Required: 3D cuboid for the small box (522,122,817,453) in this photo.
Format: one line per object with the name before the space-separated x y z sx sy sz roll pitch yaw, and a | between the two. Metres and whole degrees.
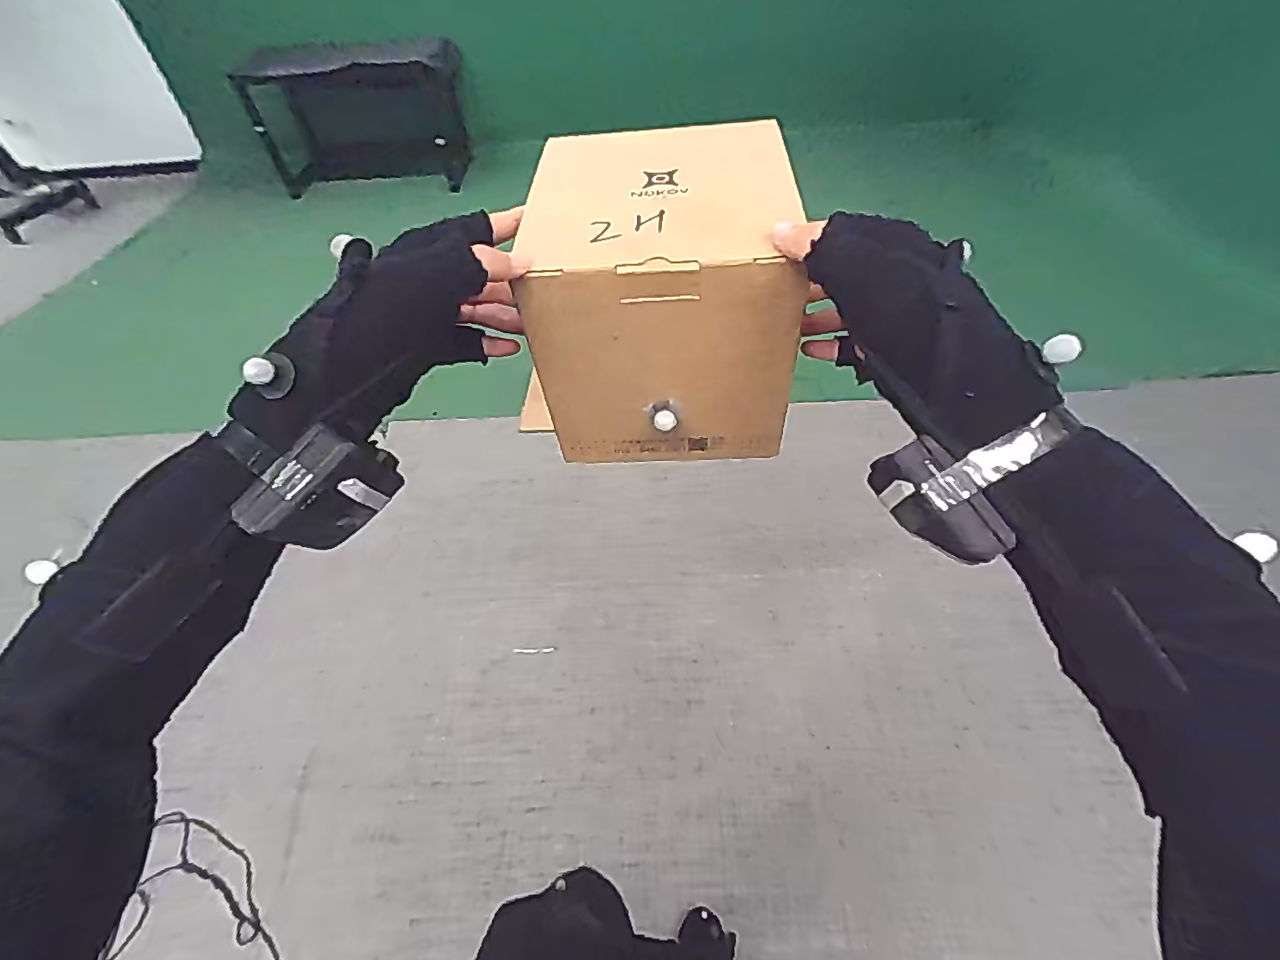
small box | 0.025 -0.139 0.408 0.168 0.176 0.179 -2 53 6
